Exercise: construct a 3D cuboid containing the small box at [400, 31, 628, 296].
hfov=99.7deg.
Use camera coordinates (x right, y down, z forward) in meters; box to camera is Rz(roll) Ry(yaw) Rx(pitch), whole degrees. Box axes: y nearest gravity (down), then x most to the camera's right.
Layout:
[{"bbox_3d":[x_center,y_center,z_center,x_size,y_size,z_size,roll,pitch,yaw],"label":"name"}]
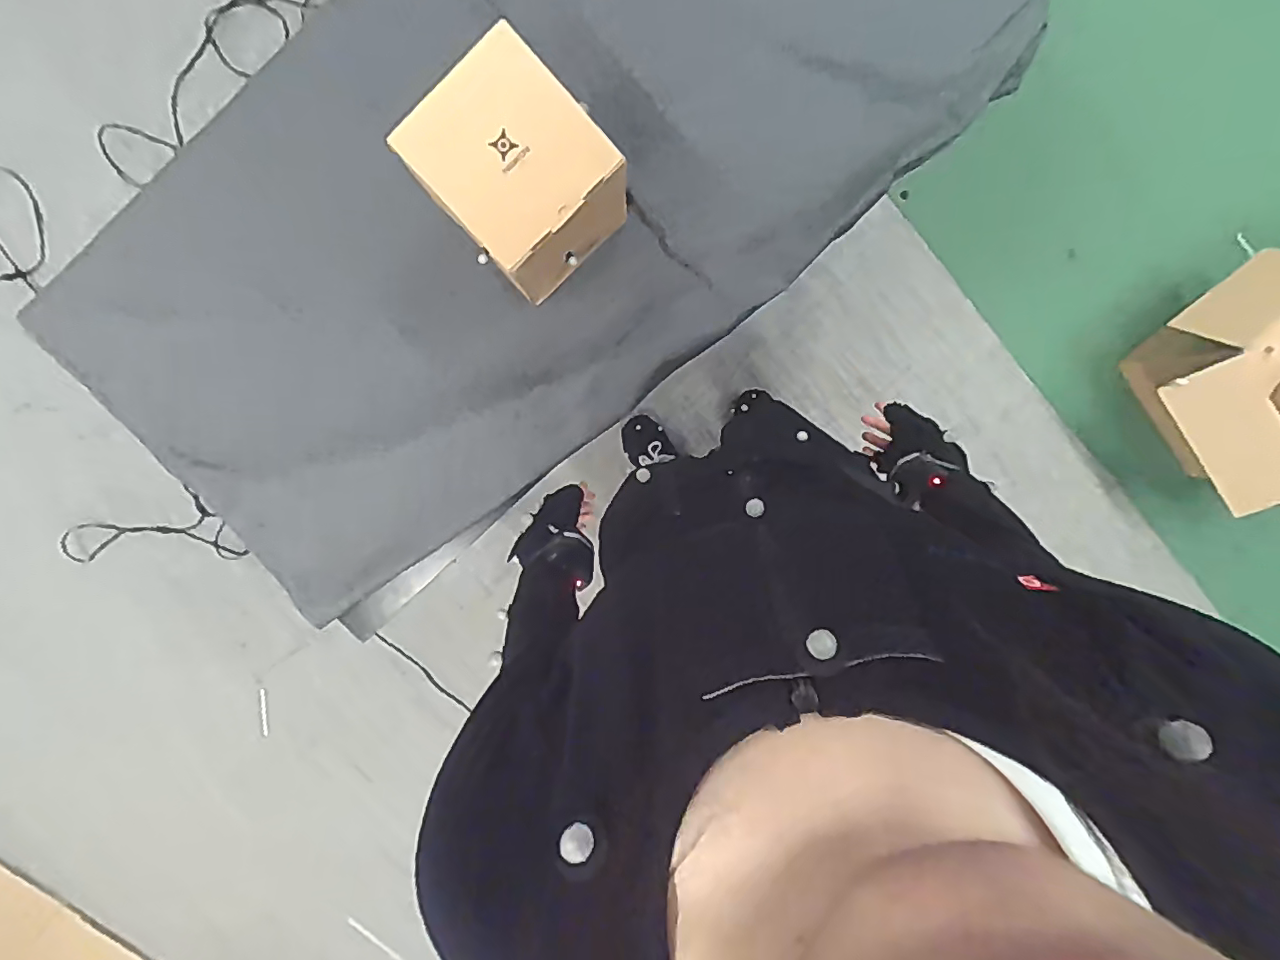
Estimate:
[{"bbox_3d":[-0.132,-0.344,0.633,0.168,0.176,0.179,-44,97,4],"label":"small box"}]
